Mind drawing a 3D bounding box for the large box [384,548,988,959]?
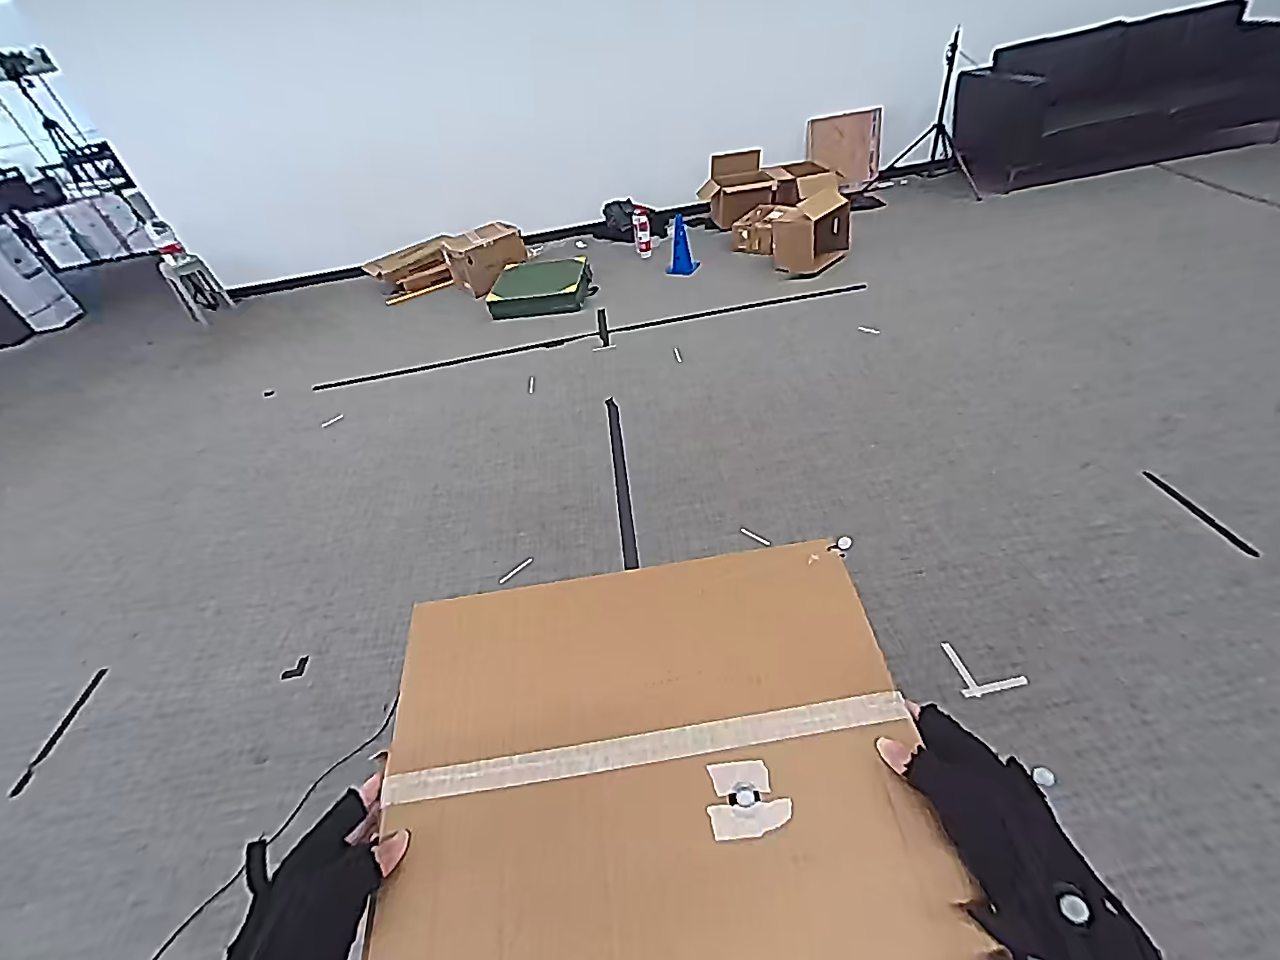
[{"bbox_3d":[0.021,0.308,0.547,0.408,0.320,0.320,-9,51,0],"label":"large box"}]
